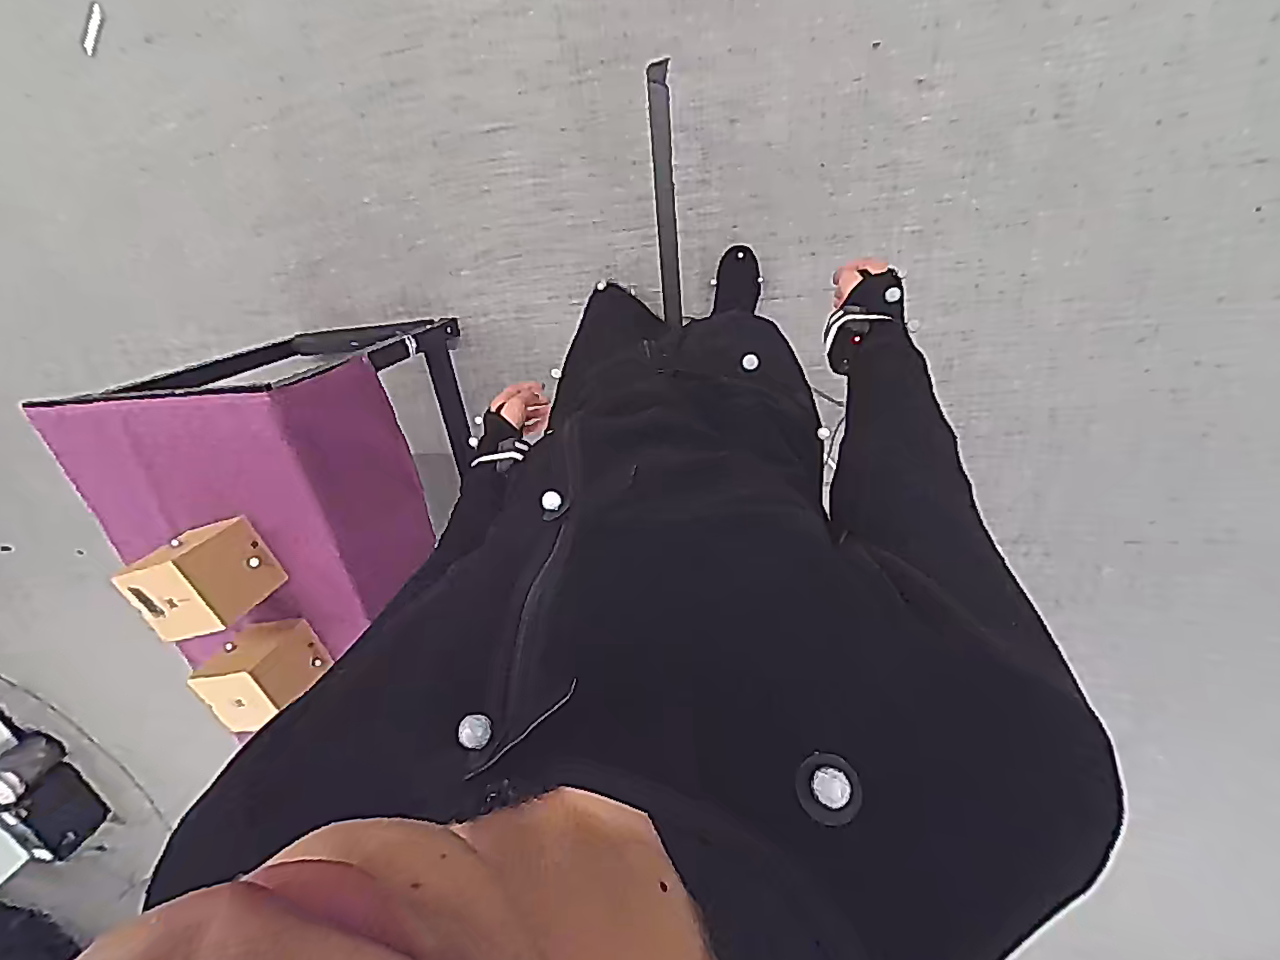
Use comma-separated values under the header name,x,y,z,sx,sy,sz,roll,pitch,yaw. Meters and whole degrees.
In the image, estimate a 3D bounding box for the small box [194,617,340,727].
name,x,y,z,sx,sy,sz,roll,pitch,yaw
small box,-0.830,0.432,1.222,0.179,0.176,0.168,-10,115,17

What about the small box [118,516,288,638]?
name,x,y,z,sx,sy,sz,roll,pitch,yaw
small box,-0.881,0.196,1.108,0.179,0.176,0.168,-14,114,17
